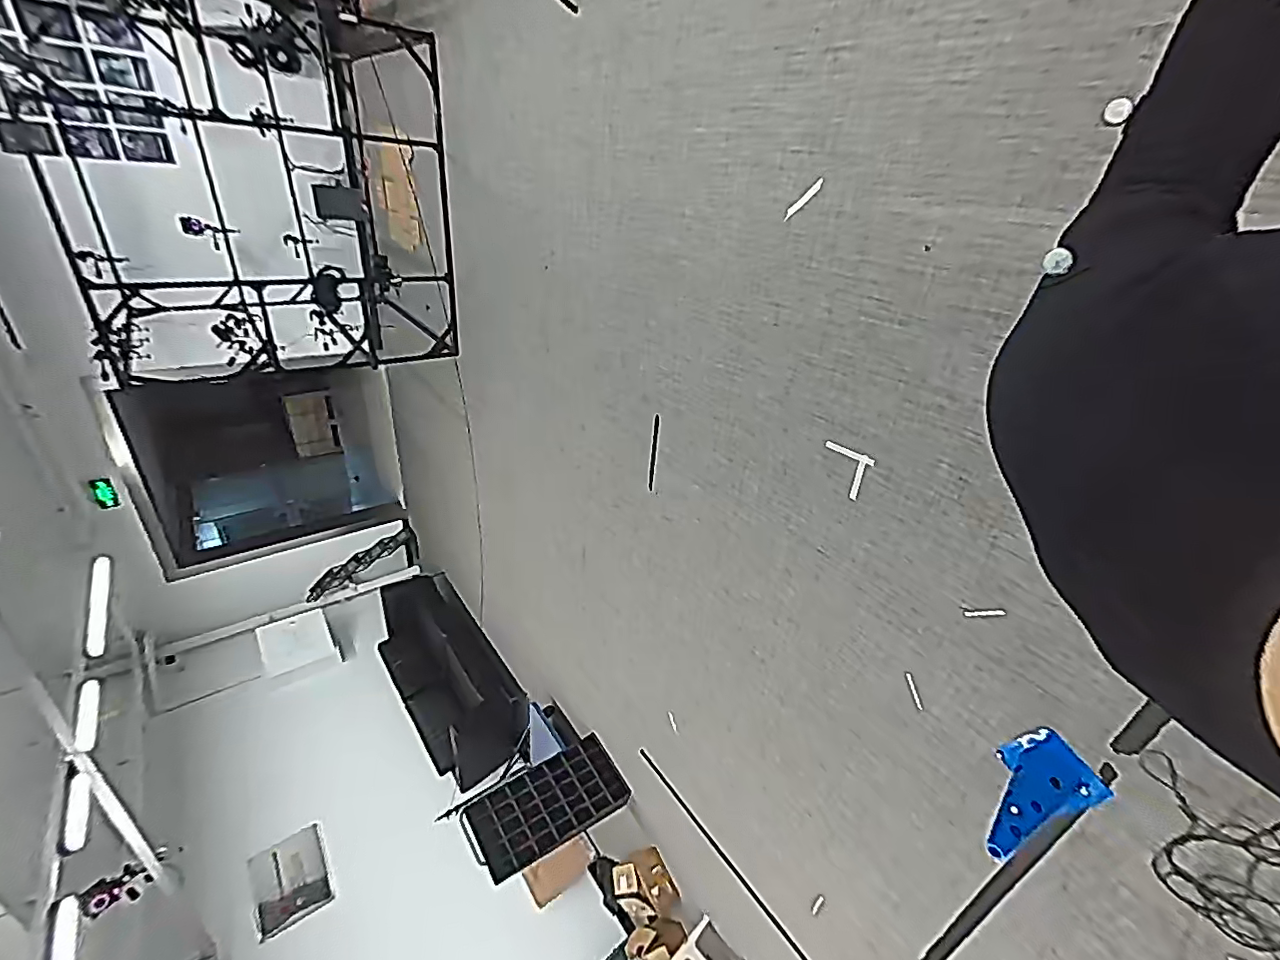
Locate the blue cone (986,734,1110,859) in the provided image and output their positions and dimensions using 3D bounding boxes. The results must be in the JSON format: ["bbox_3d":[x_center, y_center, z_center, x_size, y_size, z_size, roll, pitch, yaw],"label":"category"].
[{"bbox_3d":[0.990,0.831,1.373,0.193,0.380,0.192,55,142,27],"label":"blue cone"}]
